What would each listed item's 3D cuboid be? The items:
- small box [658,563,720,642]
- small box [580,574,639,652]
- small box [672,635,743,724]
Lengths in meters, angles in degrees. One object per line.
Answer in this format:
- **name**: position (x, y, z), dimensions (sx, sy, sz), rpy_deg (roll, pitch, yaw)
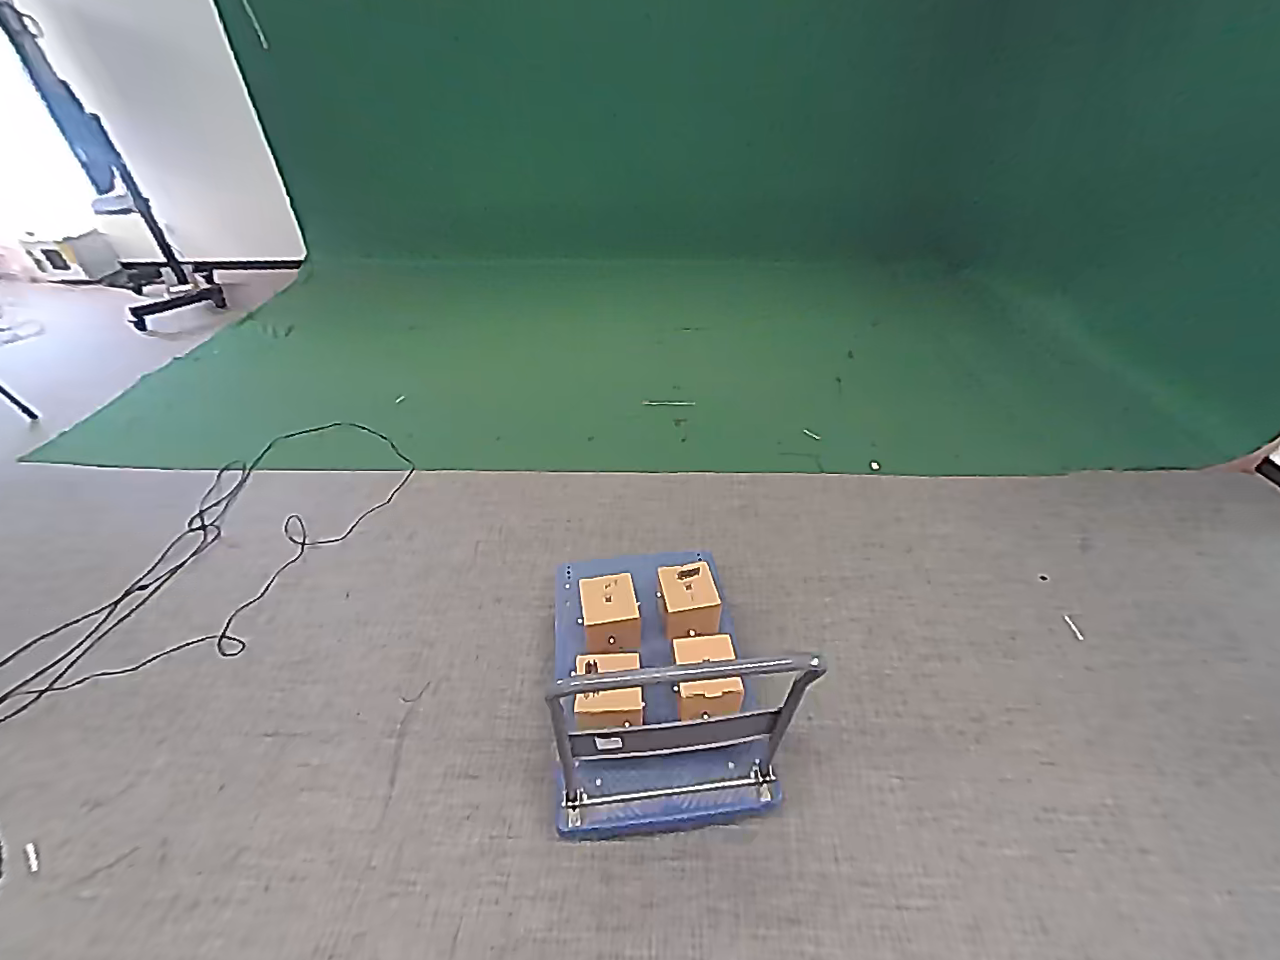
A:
- **small box**: position (0.152, 0.395, 1.747), dimensions (0.168, 0.176, 0.179), rpy_deg (-8, 41, -7)
- **small box**: position (-0.095, 0.427, 1.713), dimensions (0.168, 0.176, 0.179), rpy_deg (-6, 40, -8)
- **small box**: position (0.185, 0.568, 1.541), dimensions (0.168, 0.176, 0.179), rpy_deg (-4, 40, -4)
